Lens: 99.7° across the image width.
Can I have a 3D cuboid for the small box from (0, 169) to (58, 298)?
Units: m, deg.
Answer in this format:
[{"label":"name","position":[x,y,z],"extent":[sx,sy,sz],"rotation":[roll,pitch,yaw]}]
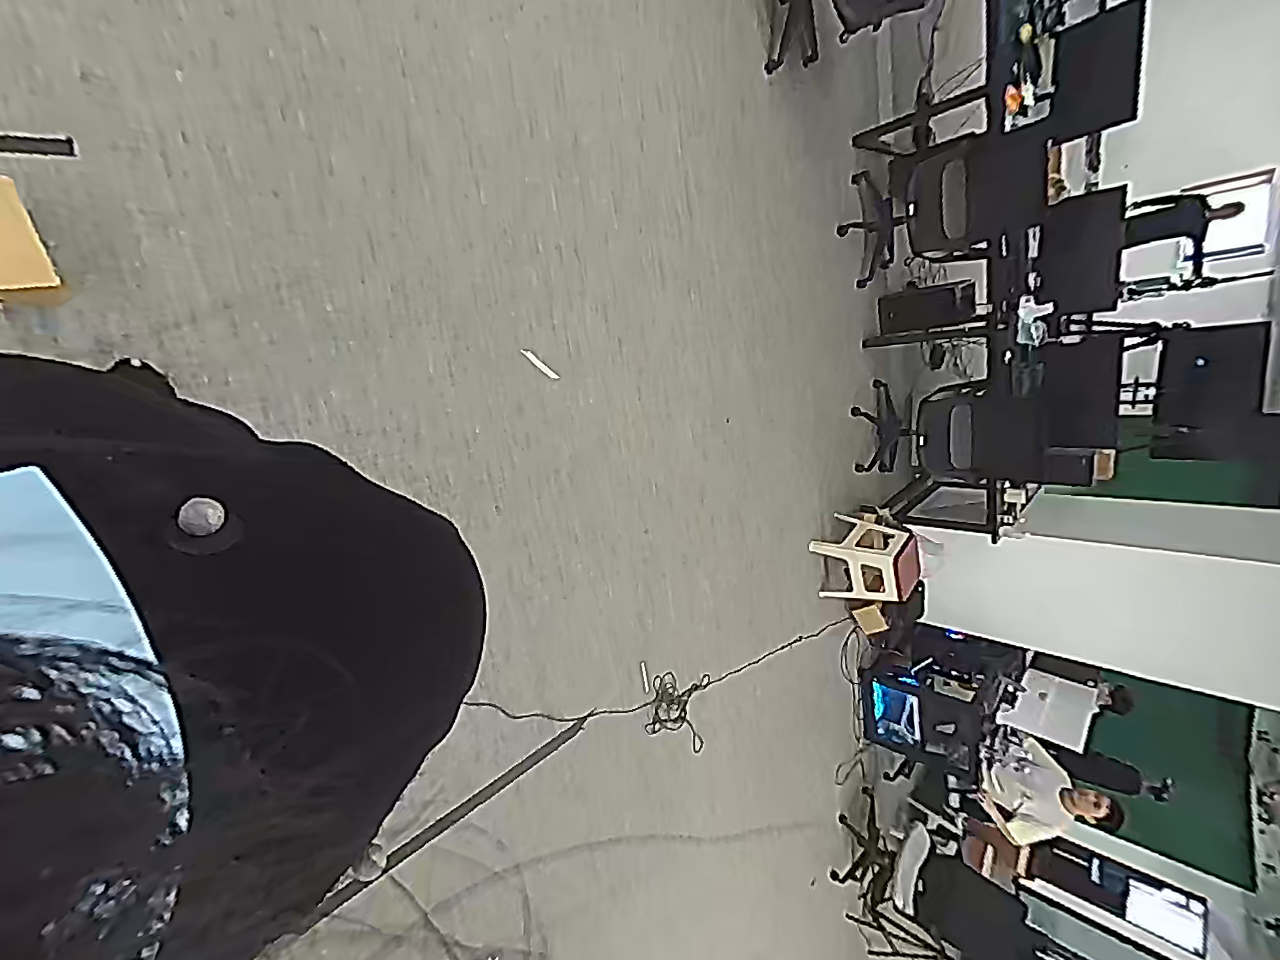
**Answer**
[{"label":"small box","position":[-1.118,-0.400,0.896],"extent":[0.168,0.176,0.179],"rotation":[-25,111,-41]}]
